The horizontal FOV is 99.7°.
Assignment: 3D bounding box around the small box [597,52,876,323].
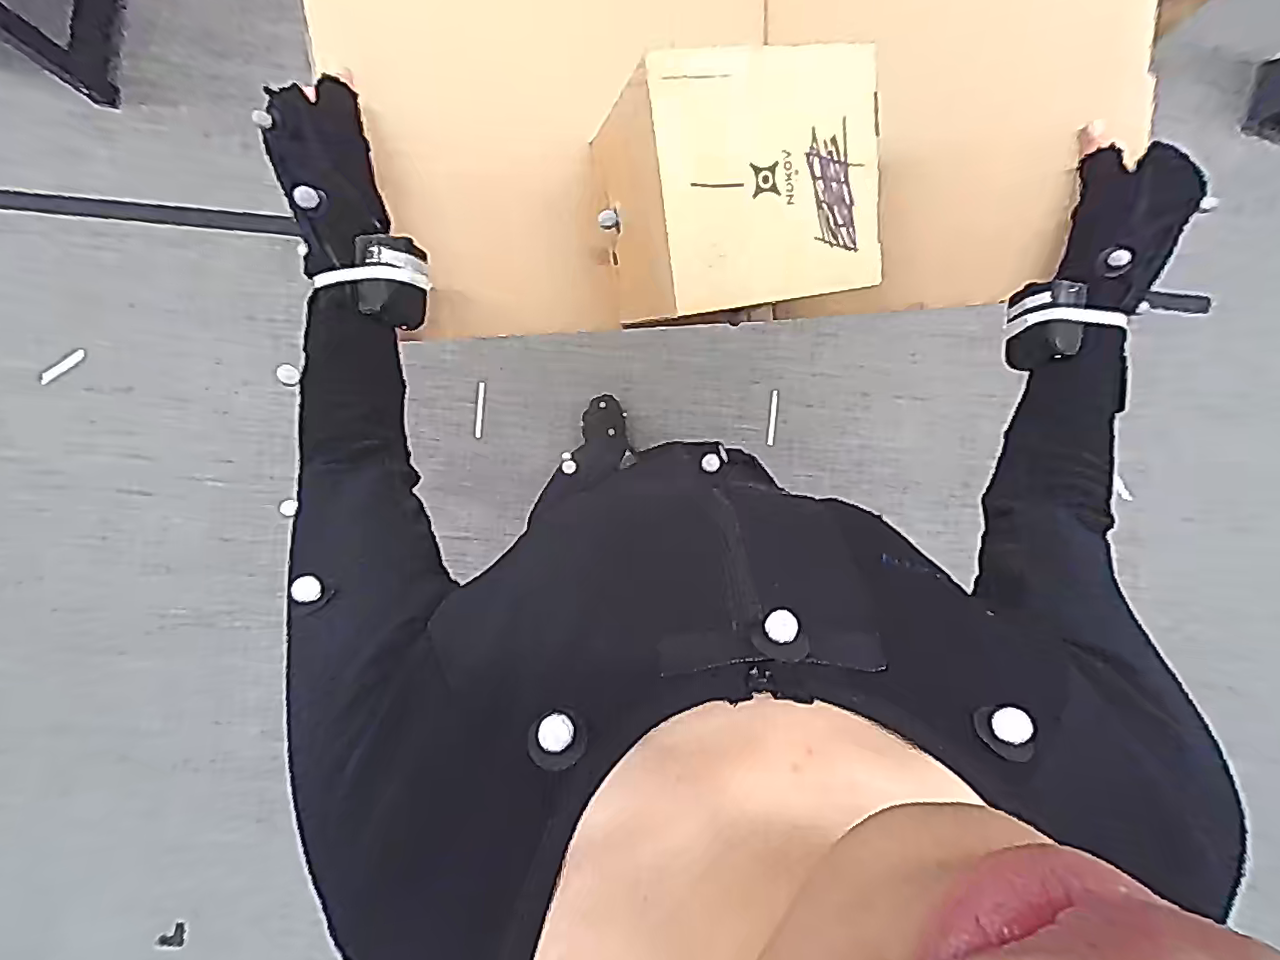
[{"bbox_3d":[0.074,-0.232,0.465,0.179,0.176,0.168,-13,107,-13],"label":"small box"}]
